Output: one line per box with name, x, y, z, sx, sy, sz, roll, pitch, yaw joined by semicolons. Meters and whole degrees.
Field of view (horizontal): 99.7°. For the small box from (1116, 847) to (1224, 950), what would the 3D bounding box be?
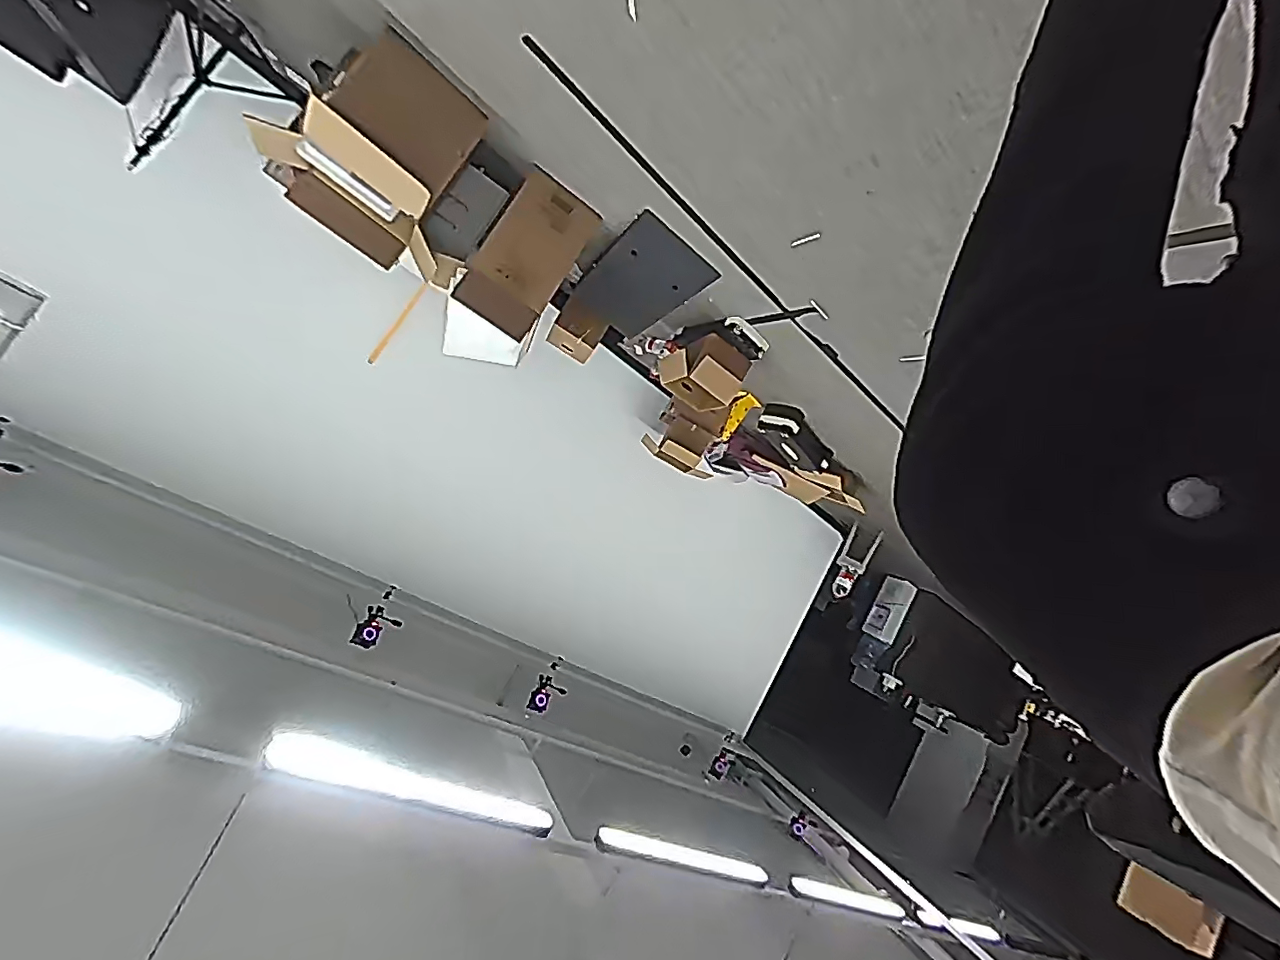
small box;1.547;1.213;1.578;0.179;0.176;0.168;32;172;-25
